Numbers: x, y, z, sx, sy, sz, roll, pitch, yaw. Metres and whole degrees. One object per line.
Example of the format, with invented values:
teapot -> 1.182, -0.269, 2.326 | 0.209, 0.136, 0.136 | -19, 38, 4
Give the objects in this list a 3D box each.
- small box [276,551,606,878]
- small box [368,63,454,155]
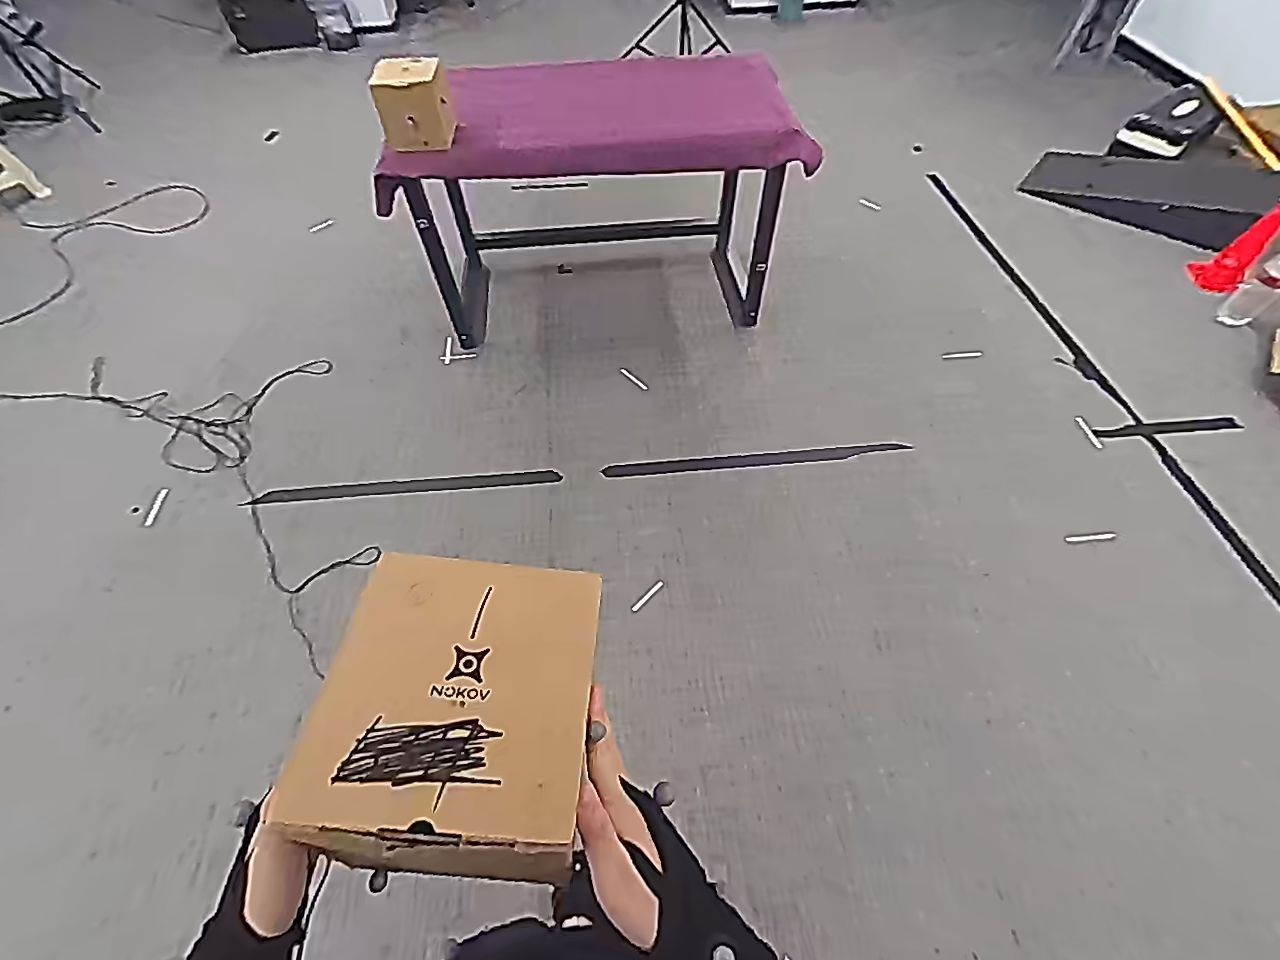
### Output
small box -> -0.120, 0.180, 0.408 | 0.168, 0.176, 0.179 | 7, 46, -3
small box -> -0.634, -1.039, 1.522 | 0.168, 0.176, 0.179 | -4, 56, -2
